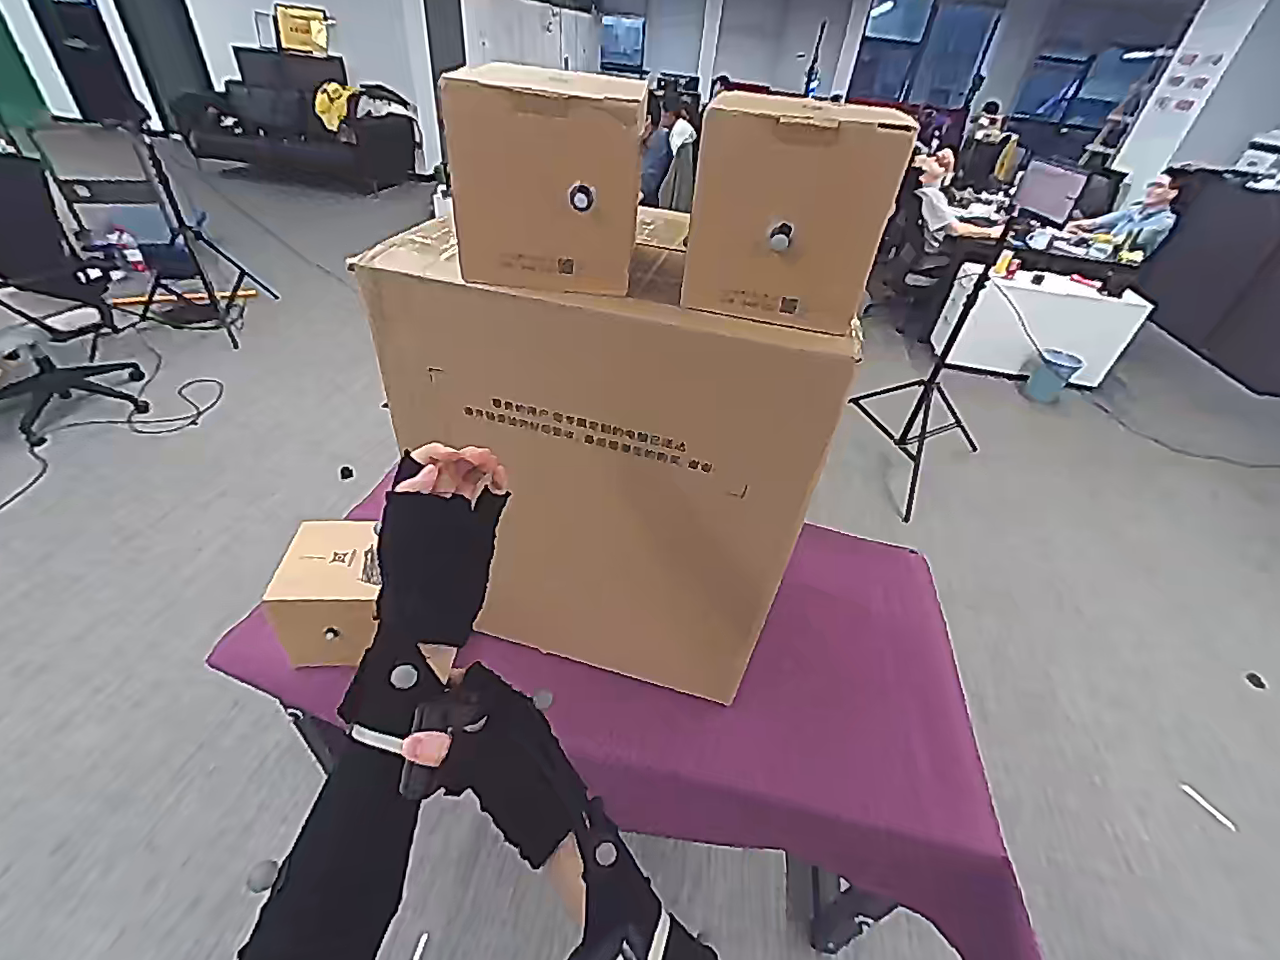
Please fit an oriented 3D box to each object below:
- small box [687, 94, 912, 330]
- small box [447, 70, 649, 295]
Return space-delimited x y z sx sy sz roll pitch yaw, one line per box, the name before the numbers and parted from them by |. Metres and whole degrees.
small box | 0.147 -0.268 0.538 0.168 0.176 0.179 13 41 8
small box | -0.082 -0.305 0.557 0.168 0.176 0.179 6 39 -3
